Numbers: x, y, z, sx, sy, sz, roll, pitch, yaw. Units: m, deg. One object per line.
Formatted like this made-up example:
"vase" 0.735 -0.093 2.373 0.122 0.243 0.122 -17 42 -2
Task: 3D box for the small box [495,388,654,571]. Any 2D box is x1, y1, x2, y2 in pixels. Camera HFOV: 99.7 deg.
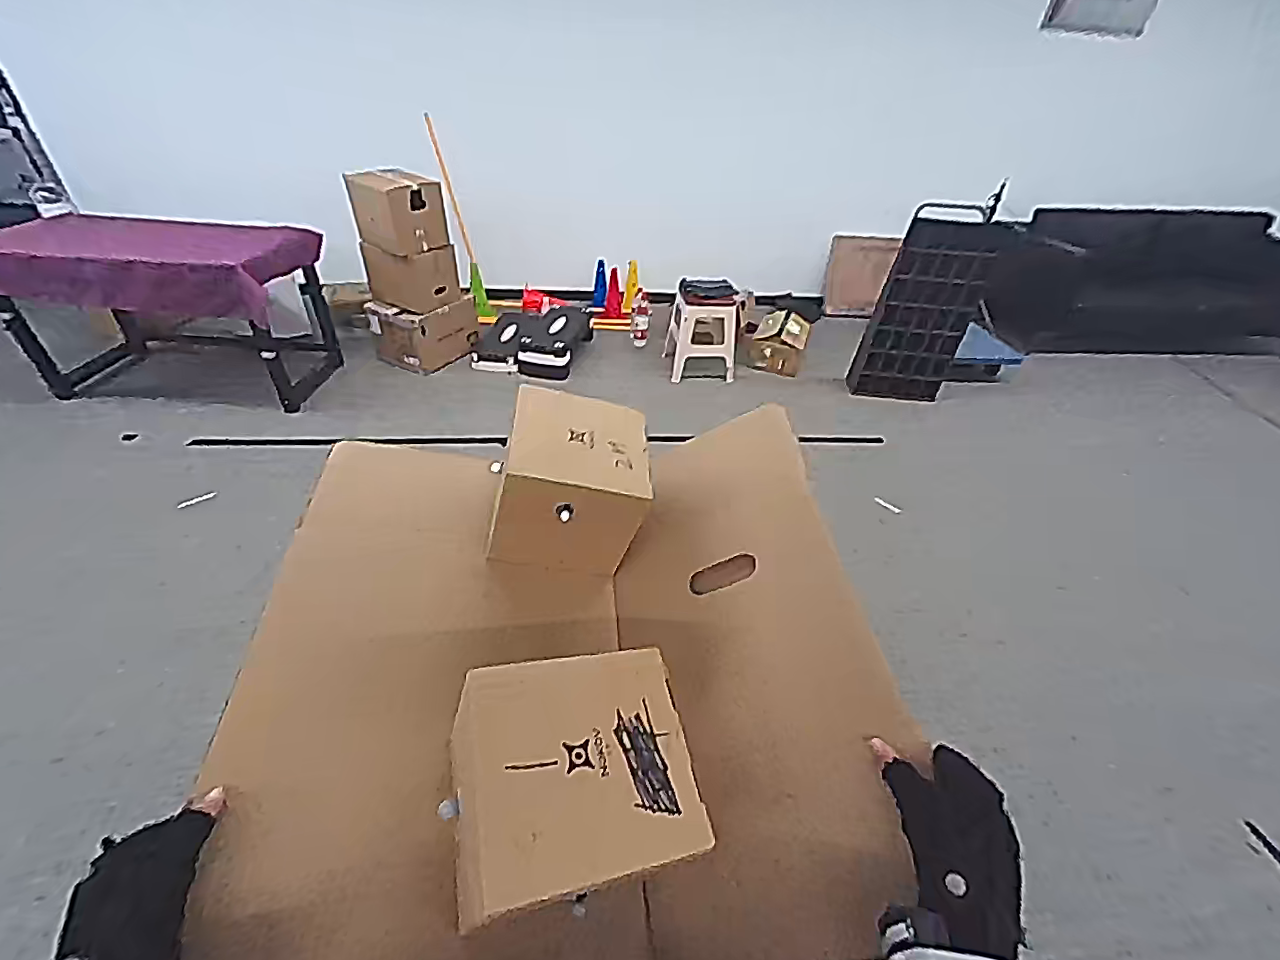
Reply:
"small box" -0.093 0.006 0.738 0.179 0.176 0.168 12 45 -15

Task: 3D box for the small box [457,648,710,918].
"small box" -0.066 0.273 0.496 0.179 0.176 0.168 1 49 -23
